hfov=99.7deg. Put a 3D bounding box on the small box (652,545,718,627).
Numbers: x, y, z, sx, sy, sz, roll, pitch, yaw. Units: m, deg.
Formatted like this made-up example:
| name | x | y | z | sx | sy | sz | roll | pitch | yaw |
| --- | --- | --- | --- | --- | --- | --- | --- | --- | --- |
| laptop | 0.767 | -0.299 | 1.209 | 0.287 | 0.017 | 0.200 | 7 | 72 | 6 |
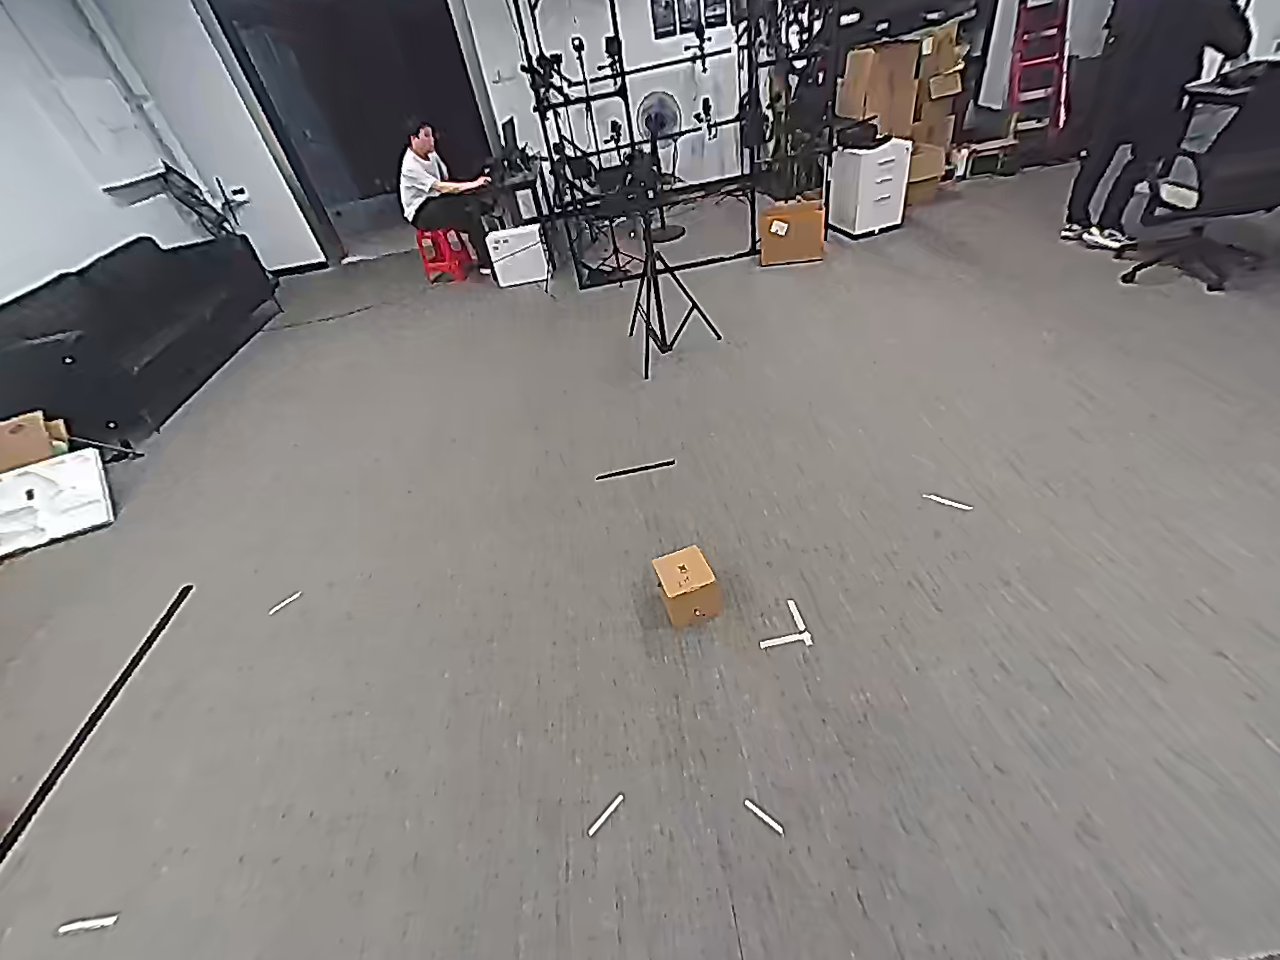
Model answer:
| name | x | y | z | sx | sy | sz | roll | pitch | yaw |
| --- | --- | --- | --- | --- | --- | --- | --- | --- | --- |
| small box | 0.149 | 0.354 | 1.806 | 0.168 | 0.176 | 0.179 | -19 | 40 | -8 |
